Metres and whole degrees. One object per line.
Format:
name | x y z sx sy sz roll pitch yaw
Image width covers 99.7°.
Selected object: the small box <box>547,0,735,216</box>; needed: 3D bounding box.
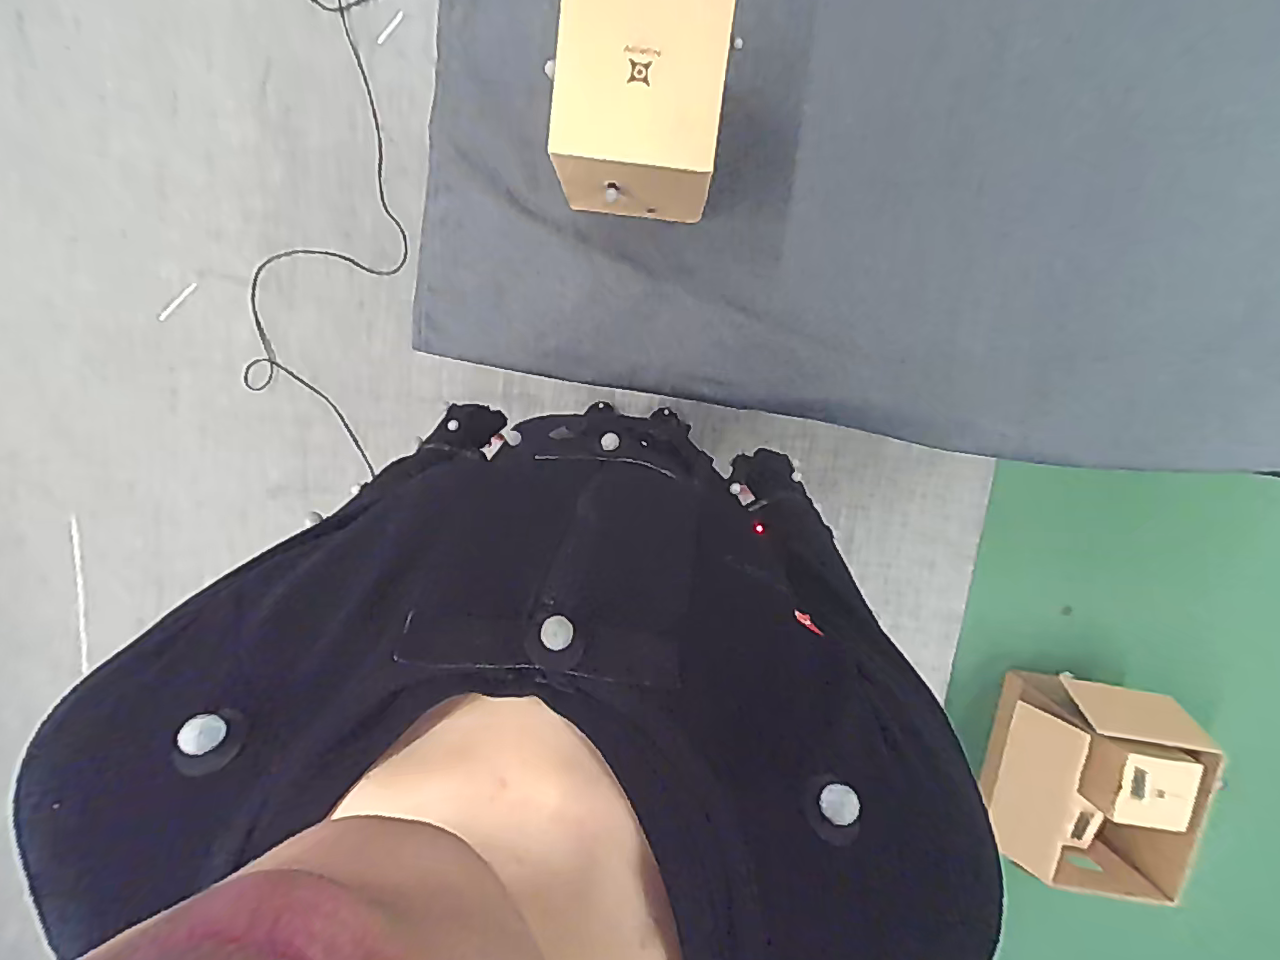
small box | 0.002 -0.410 0.591 0.168 0.176 0.179 7 99 0
